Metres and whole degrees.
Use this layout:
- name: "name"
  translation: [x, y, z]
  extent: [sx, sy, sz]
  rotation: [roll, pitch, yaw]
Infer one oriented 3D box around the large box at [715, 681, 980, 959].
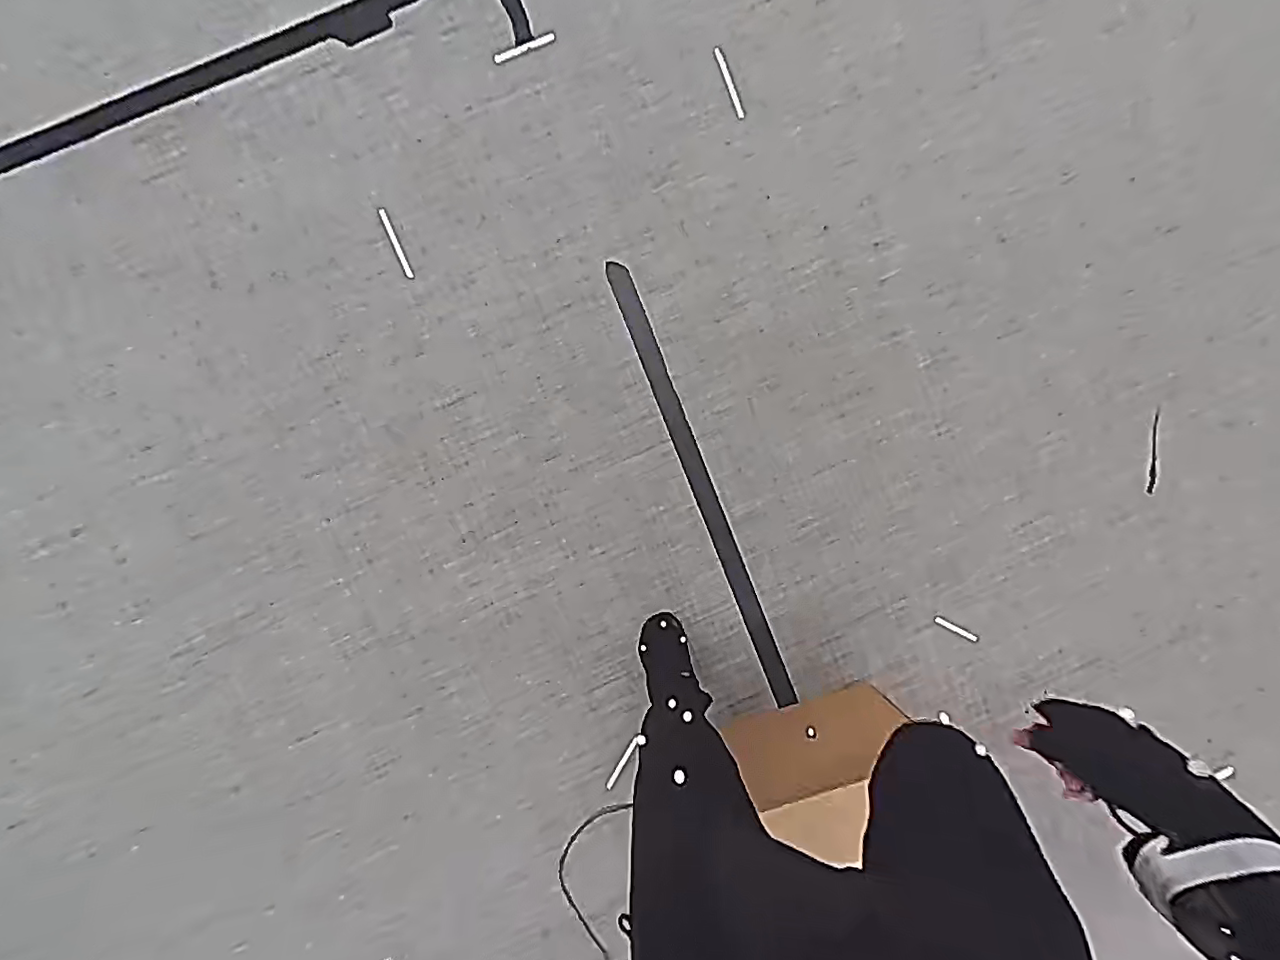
- name: "large box"
  translation: [0.417, 0.693, 1.163]
  extent: [0.408, 0.320, 0.320]
  rotation: [-16, 95, -4]
